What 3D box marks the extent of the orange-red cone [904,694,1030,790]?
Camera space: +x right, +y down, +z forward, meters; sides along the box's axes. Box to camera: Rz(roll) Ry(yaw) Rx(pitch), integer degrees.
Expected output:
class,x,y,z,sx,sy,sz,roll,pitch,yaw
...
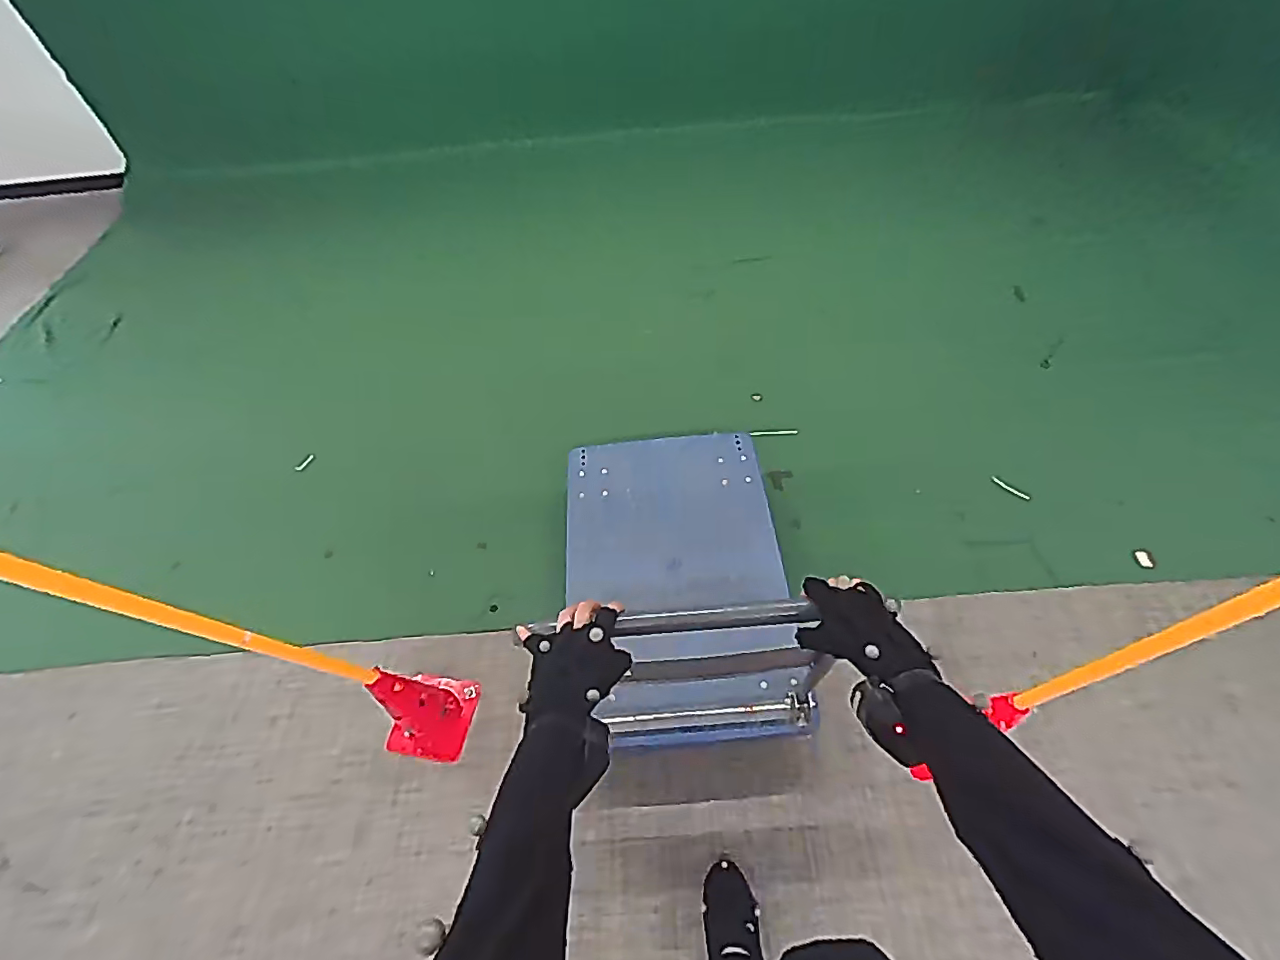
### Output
class,x,y,z,sx,sy,sz,roll,pitch,yaw
orange-red cone,0.738,0.530,1.169,0.198,0.360,0.199,4,55,8
